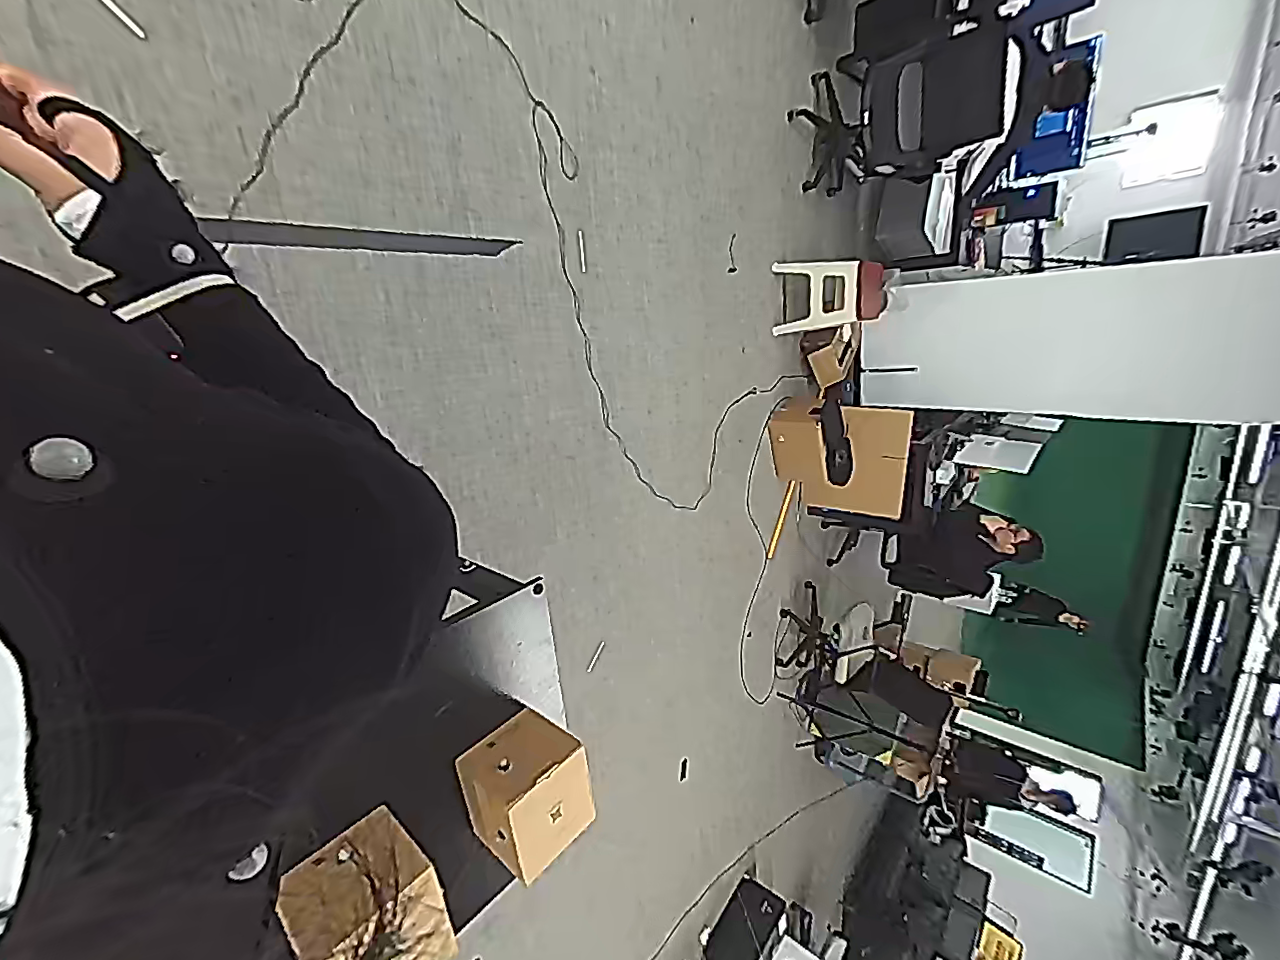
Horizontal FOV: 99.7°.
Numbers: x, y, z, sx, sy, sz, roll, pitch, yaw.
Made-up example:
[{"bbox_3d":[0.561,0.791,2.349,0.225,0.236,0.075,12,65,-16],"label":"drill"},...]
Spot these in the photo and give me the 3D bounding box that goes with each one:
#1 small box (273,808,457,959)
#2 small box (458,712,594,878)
[{"bbox_3d":[-0.396,0.629,0.783,0.168,0.176,0.179,-25,115,-44],"label":"small box"},{"bbox_3d":[-0.208,0.555,0.988,0.168,0.176,0.179,-25,116,-43],"label":"small box"}]
